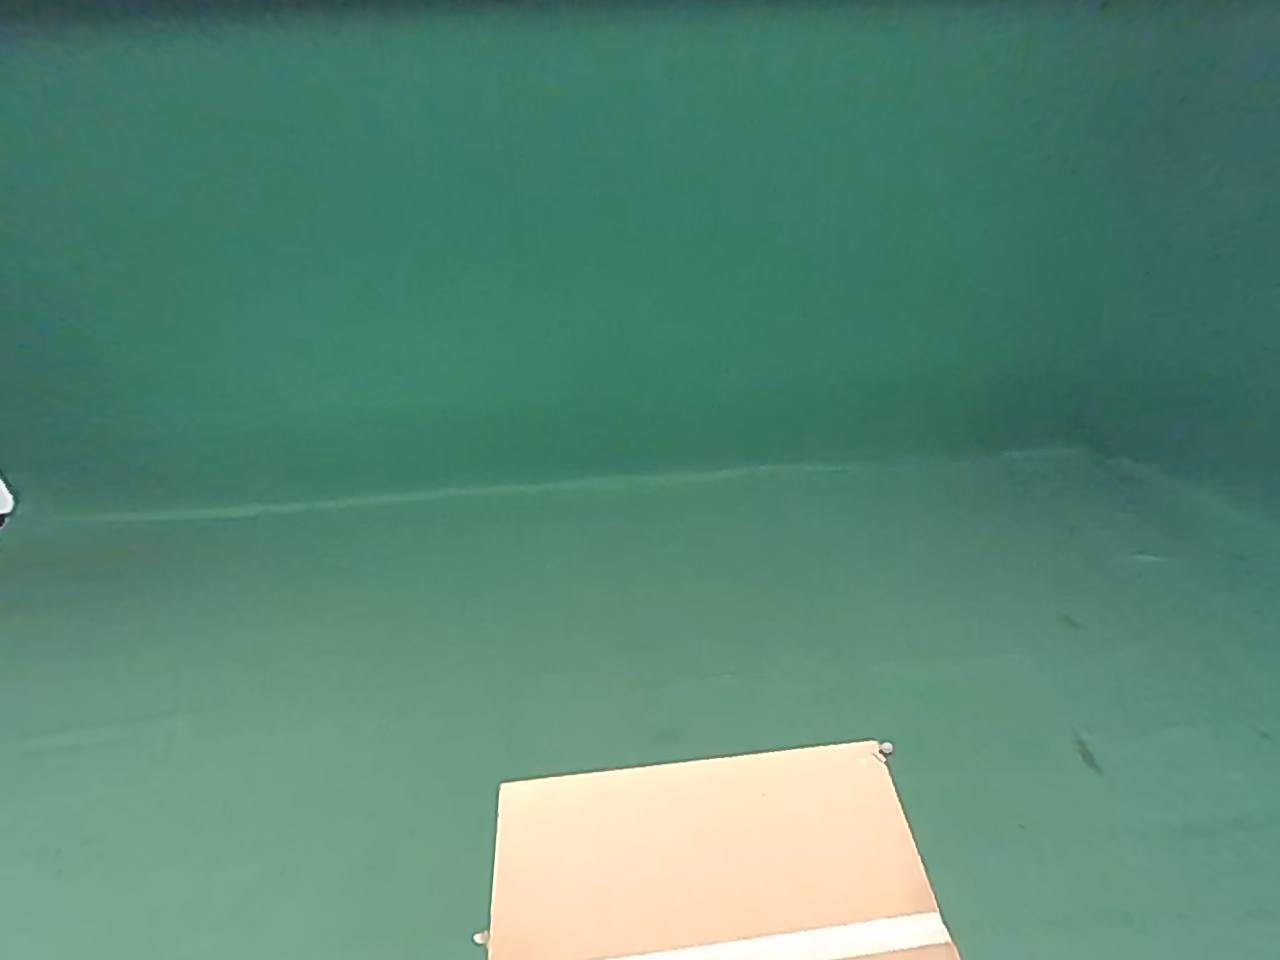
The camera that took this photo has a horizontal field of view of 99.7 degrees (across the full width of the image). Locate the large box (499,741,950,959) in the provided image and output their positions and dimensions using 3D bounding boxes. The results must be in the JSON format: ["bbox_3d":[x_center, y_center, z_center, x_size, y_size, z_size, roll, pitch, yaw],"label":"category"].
[{"bbox_3d":[0.074,0.519,0.591,0.408,0.320,0.320,-5,50,-4],"label":"large box"}]
